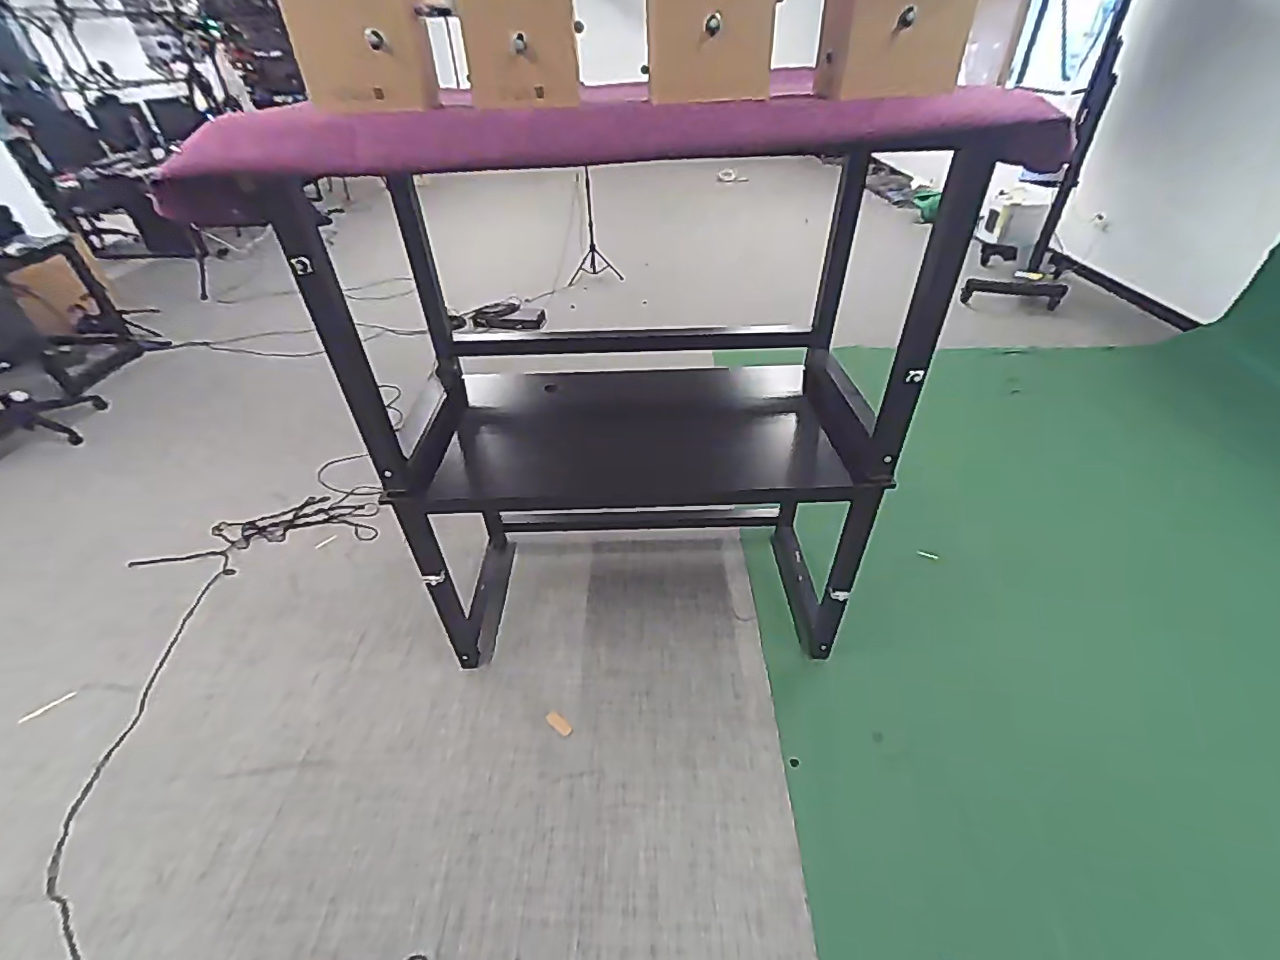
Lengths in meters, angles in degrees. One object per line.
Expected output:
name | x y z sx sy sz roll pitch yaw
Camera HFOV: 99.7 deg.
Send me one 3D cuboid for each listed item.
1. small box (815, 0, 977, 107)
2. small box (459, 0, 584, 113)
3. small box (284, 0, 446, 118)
small box | 0.385 -0.686 0.829 0.179 0.176 0.168 -2 38 2
small box | -0.177 -0.689 0.860 0.168 0.176 0.179 -4 38 -3
small box | -0.418 -0.676 0.853 0.168 0.176 0.179 -4 37 -4
